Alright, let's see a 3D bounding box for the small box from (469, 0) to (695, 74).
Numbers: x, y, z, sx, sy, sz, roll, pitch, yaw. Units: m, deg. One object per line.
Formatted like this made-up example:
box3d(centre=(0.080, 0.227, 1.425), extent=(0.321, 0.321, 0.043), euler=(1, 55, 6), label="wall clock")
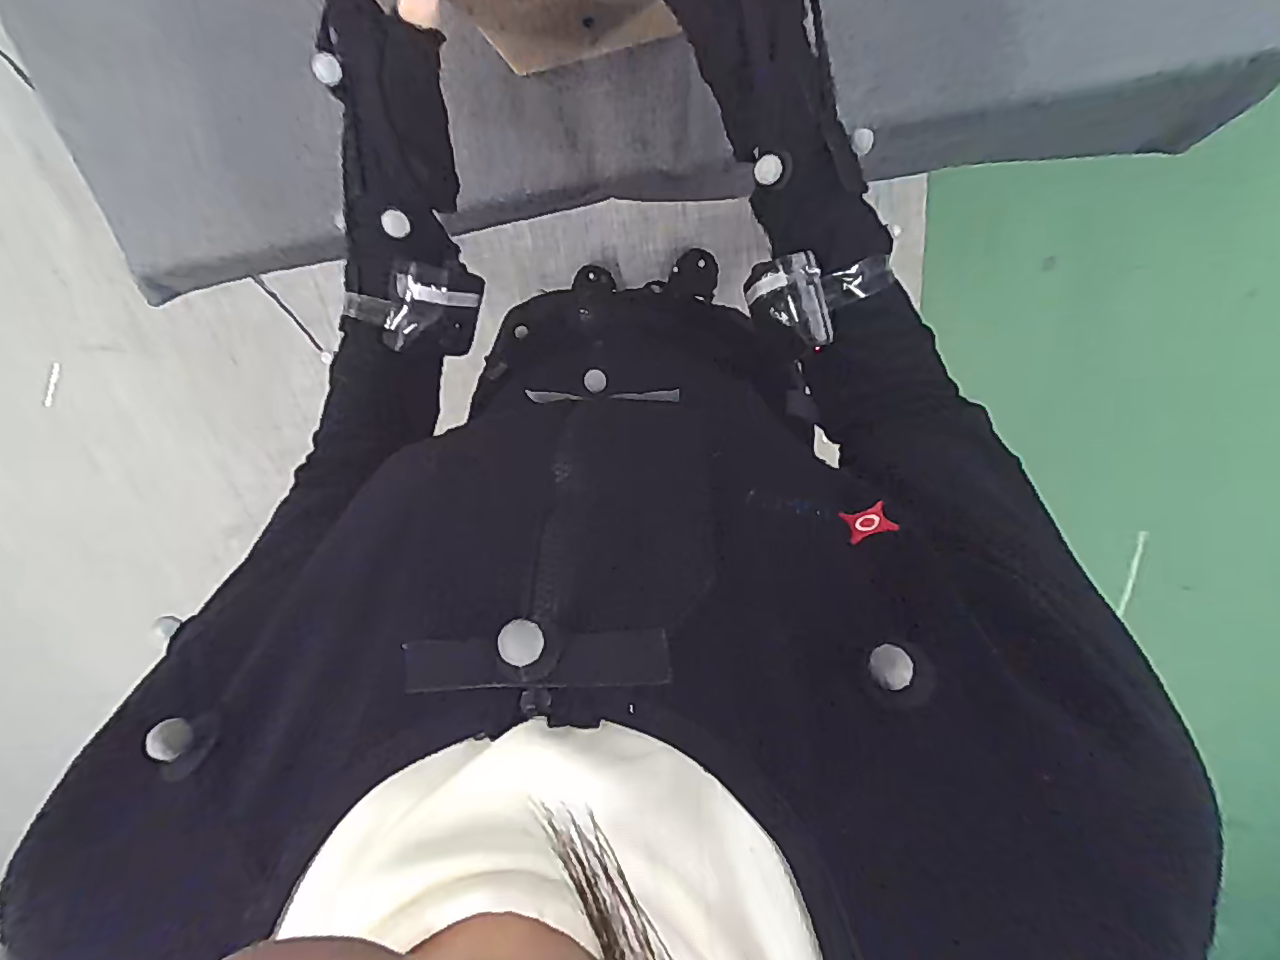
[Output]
box3d(centre=(-0.050, -0.451, 0.420), extent=(0.179, 0.176, 0.168), euler=(-10, 113, 7), label="small box")
